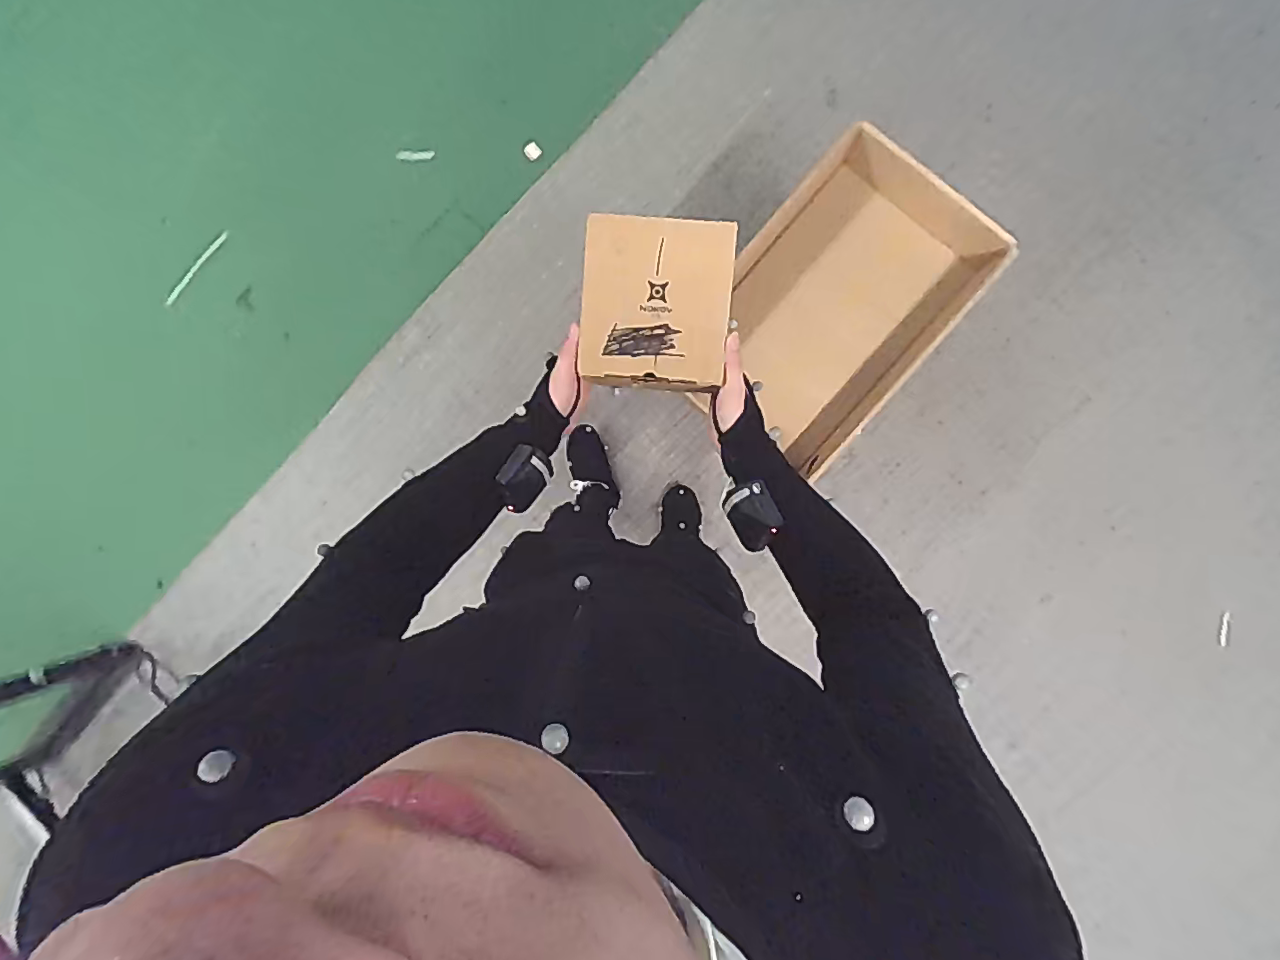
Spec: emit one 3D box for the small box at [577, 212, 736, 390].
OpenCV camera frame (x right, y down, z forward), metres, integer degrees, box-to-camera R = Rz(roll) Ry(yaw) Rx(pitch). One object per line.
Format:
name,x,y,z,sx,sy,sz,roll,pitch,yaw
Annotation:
small box,0.020,-0.206,0.666,0.168,0.176,0.179,3,95,1
